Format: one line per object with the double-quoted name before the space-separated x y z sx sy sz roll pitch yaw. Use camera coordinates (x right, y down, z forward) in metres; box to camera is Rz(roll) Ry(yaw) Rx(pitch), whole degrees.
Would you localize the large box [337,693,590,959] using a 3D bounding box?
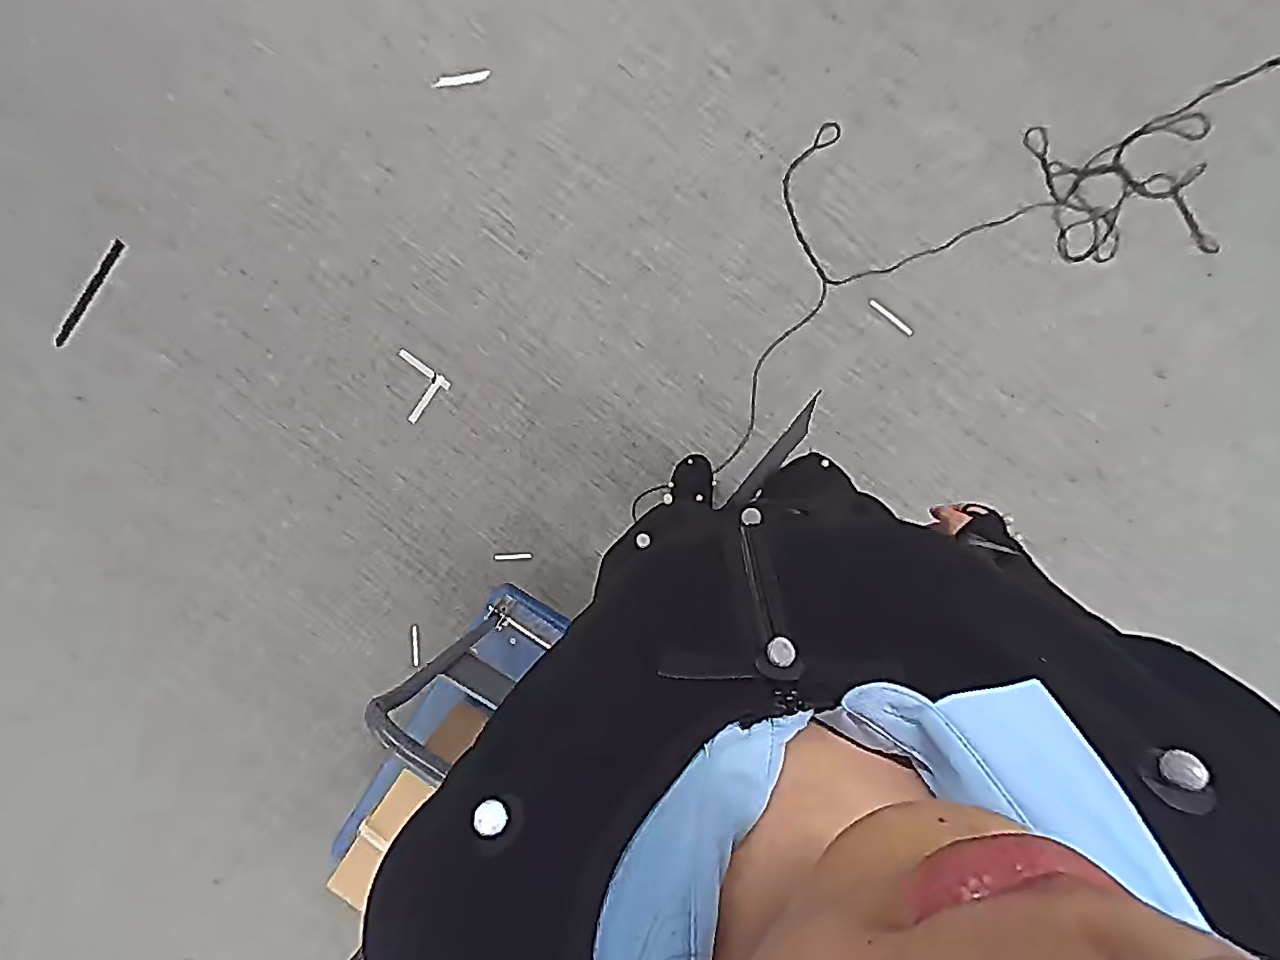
"large box" -0.378 0.782 1.255 0.408 0.320 0.320 34 95 1
